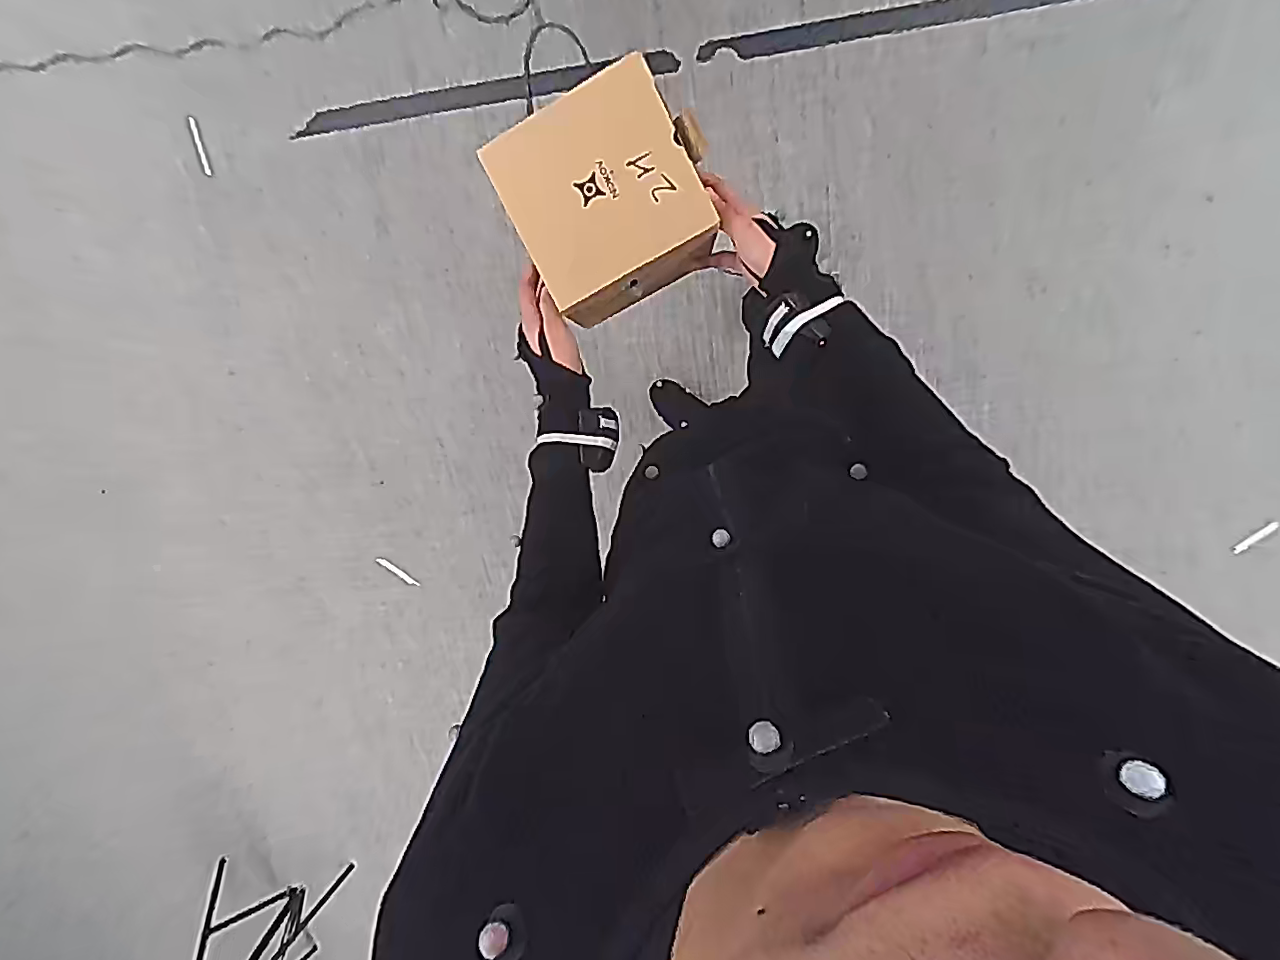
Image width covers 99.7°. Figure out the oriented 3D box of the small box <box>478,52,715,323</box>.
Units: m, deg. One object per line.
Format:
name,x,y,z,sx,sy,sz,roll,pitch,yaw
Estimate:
small box,-0.036,-0.286,0.580,0.179,0.176,0.168,-27,97,6
